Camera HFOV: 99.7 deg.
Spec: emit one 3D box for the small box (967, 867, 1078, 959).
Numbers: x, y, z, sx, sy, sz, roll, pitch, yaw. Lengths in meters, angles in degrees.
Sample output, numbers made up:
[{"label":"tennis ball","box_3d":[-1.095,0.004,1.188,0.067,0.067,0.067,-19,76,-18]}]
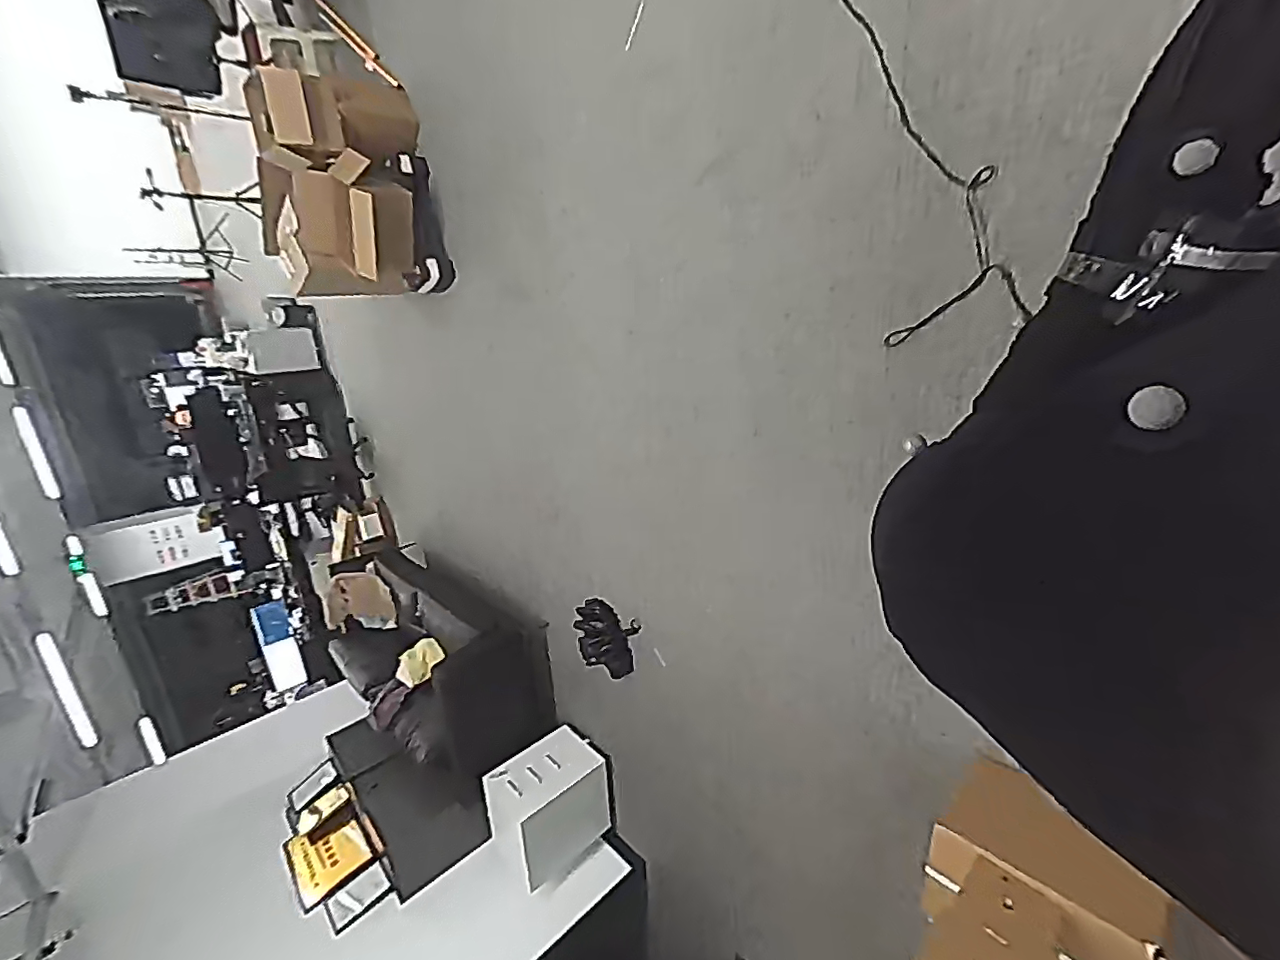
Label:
[{"label":"small box","box_3d":[0.799,0.986,1.148,0.168,0.176,0.179,20,117,45]}]
